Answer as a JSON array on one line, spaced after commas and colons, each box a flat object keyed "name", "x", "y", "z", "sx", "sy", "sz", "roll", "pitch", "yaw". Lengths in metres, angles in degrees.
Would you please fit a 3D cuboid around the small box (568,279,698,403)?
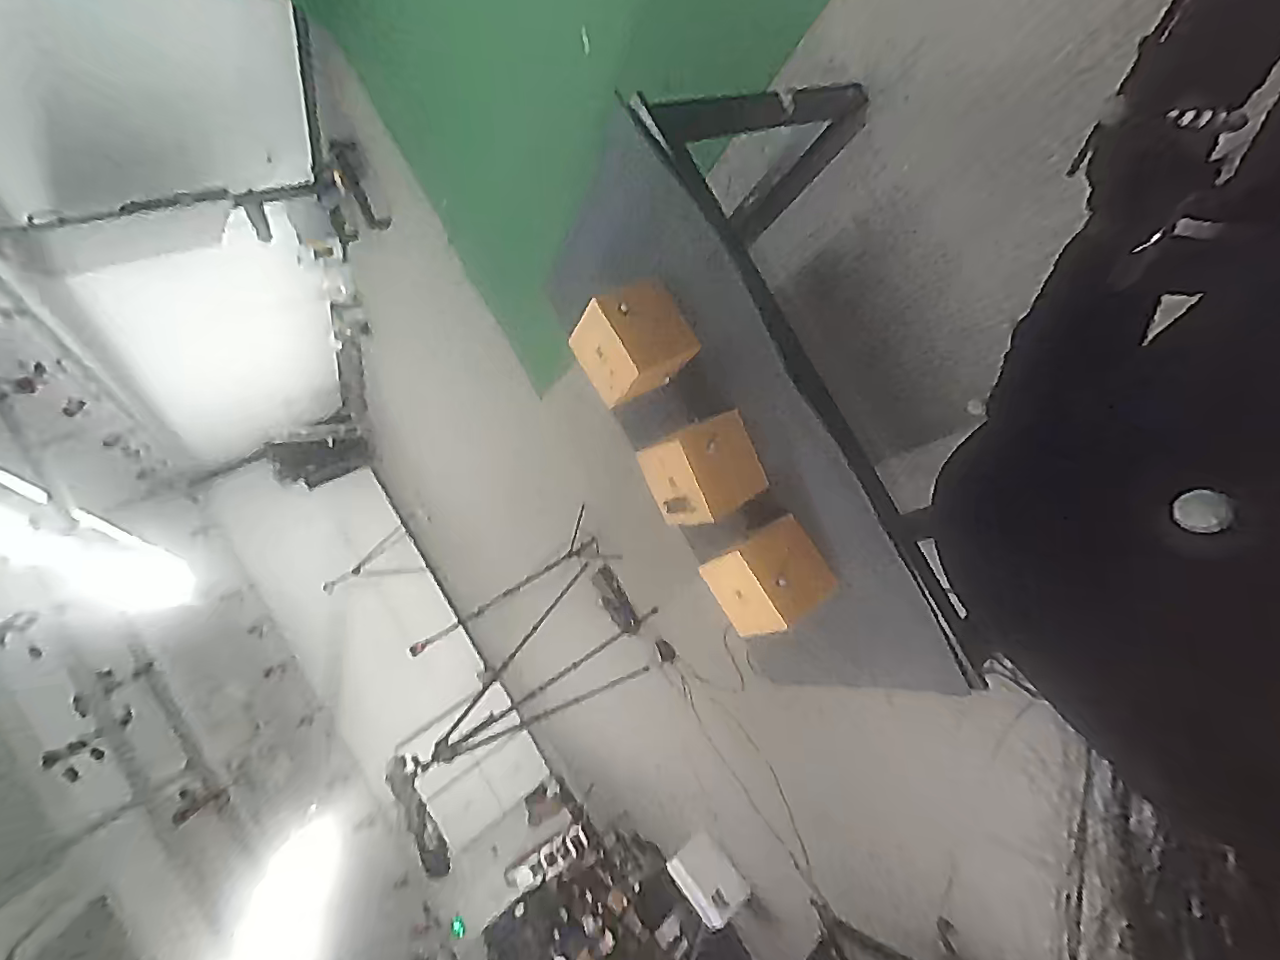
[{"name": "small box", "x": -0.015, "y": -0.291, "z": 1.114, "sx": 0.179, "sy": 0.176, "sz": 0.168, "roll": 59, "pitch": 150, "yaw": 2}]

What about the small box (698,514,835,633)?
[{"name": "small box", "x": 0.260, "y": 0.188, "z": 1.118, "sx": 0.179, "sy": 0.176, "sz": 0.168, "roll": 57, "pitch": 149, "yaw": 5}]
